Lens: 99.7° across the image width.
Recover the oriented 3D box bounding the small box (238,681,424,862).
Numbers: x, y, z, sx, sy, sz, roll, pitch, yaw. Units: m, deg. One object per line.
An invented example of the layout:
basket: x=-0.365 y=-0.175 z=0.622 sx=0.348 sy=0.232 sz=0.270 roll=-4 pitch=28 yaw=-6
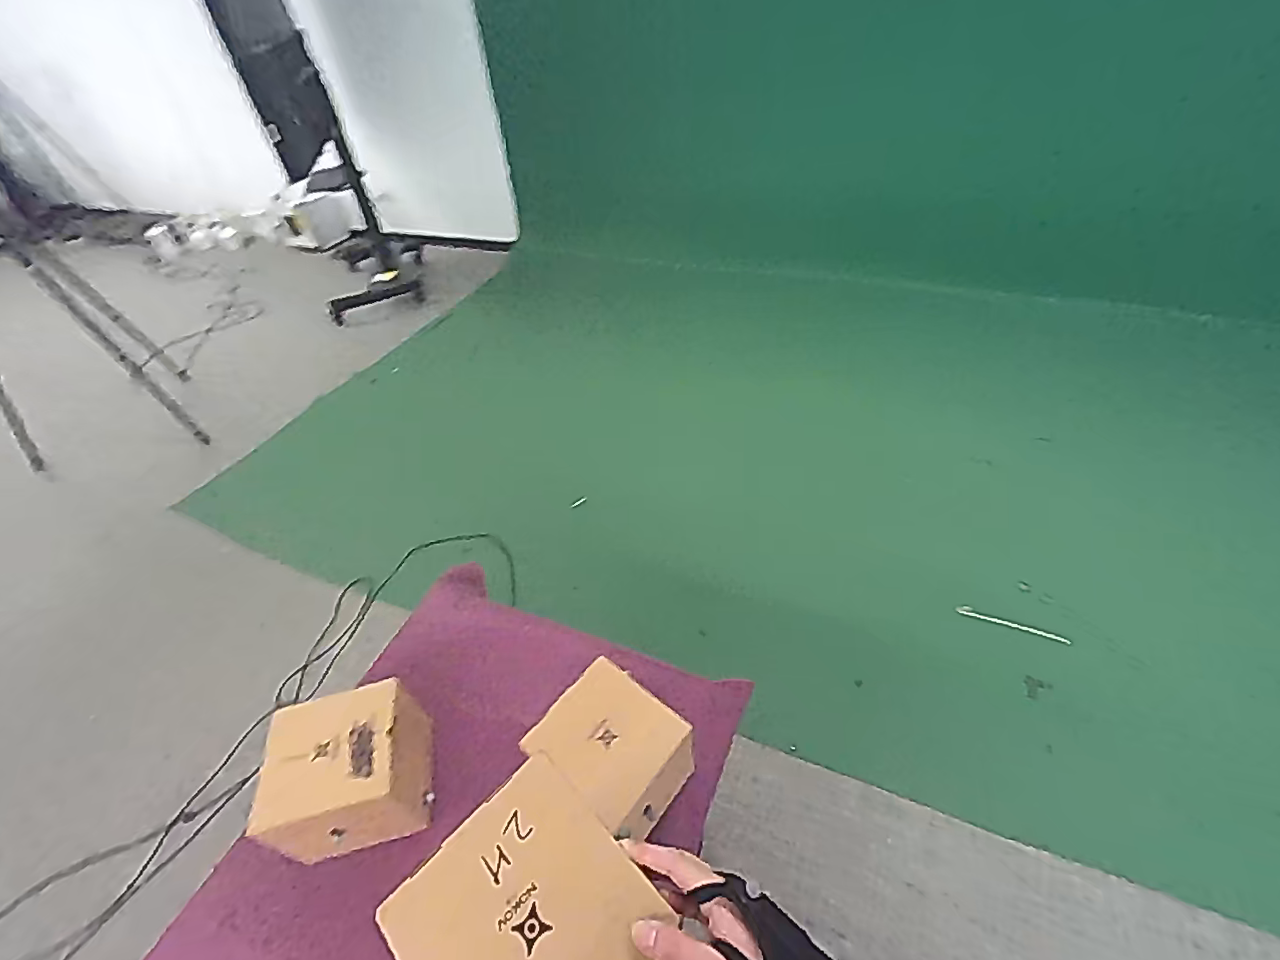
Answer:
small box: x=-0.428 y=0.426 z=0.790 sx=0.179 sy=0.176 sz=0.168 roll=-13 pitch=45 yaw=-8

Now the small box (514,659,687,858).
small box: x=-0.045 y=0.403 z=0.778 sx=0.179 sy=0.176 sz=0.168 roll=27 pitch=54 yaw=32
